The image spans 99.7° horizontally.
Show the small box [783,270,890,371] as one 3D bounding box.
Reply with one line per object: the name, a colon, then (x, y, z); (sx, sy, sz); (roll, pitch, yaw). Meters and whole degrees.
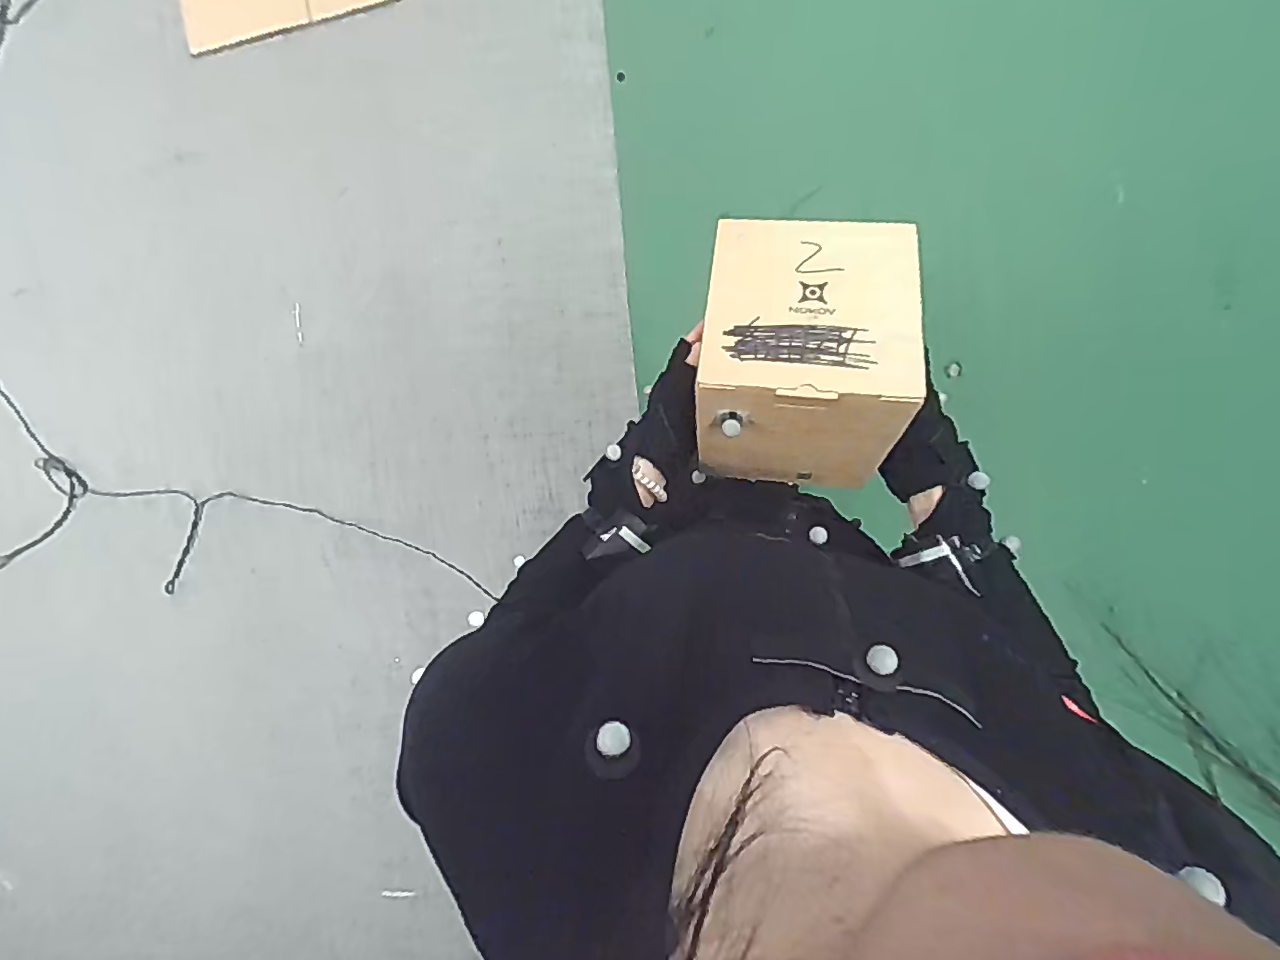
small box: (0.425, -0.344, 1.194); (0.179, 0.176, 0.168); (-8, 92, 8)
